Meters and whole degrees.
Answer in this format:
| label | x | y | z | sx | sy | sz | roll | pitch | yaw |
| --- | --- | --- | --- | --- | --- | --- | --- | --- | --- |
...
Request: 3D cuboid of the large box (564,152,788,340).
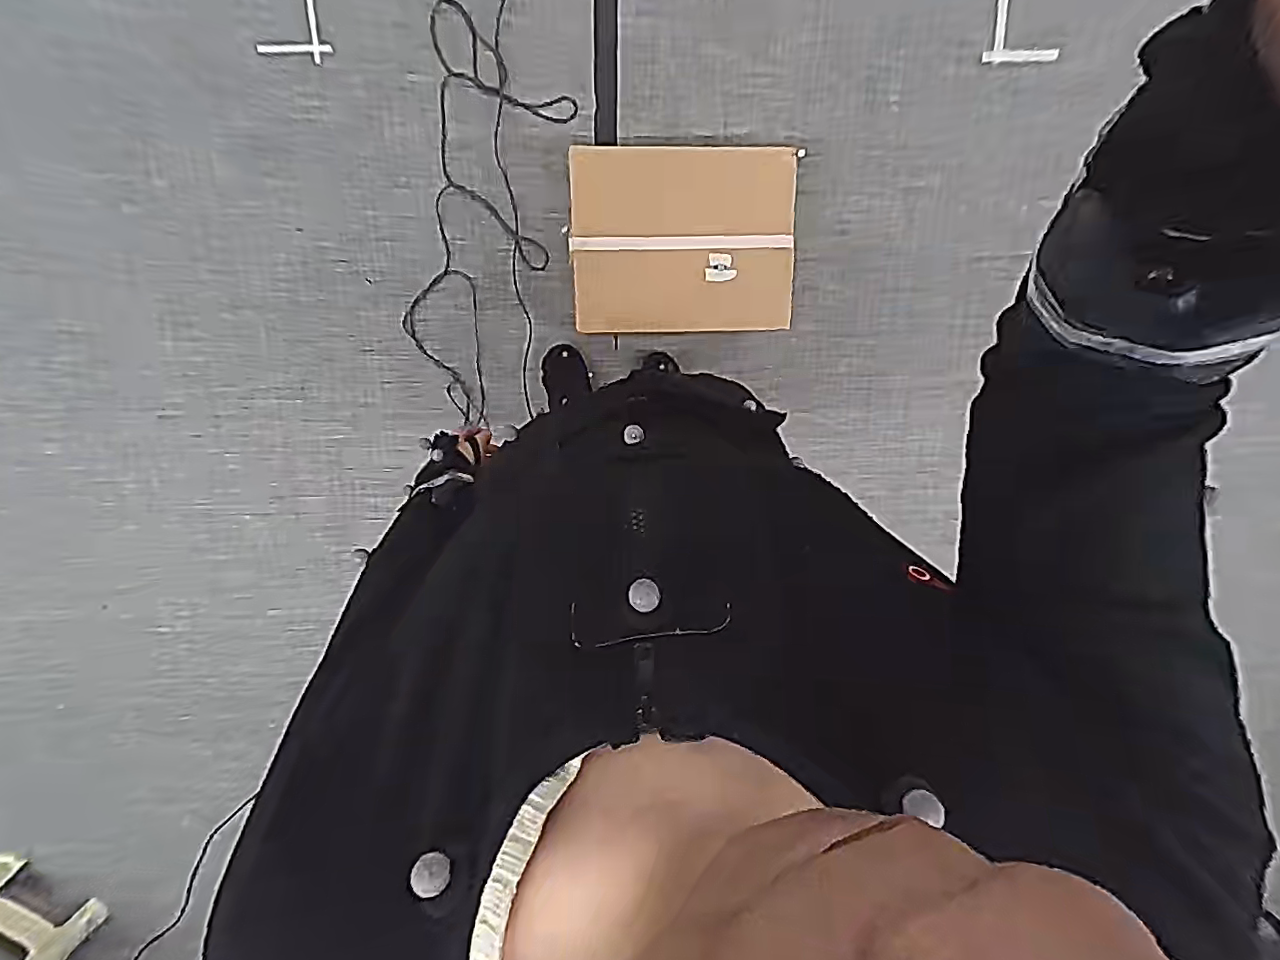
| label | x | y | z | sx | sy | sz | roll | pitch | yaw |
| --- | --- | --- | --- | --- | --- | --- | --- | --- | --- |
| large box | 0.059 | -0.461 | 1.130 | 0.408 | 0.320 | 0.320 | -2 | 105 | -4 |
